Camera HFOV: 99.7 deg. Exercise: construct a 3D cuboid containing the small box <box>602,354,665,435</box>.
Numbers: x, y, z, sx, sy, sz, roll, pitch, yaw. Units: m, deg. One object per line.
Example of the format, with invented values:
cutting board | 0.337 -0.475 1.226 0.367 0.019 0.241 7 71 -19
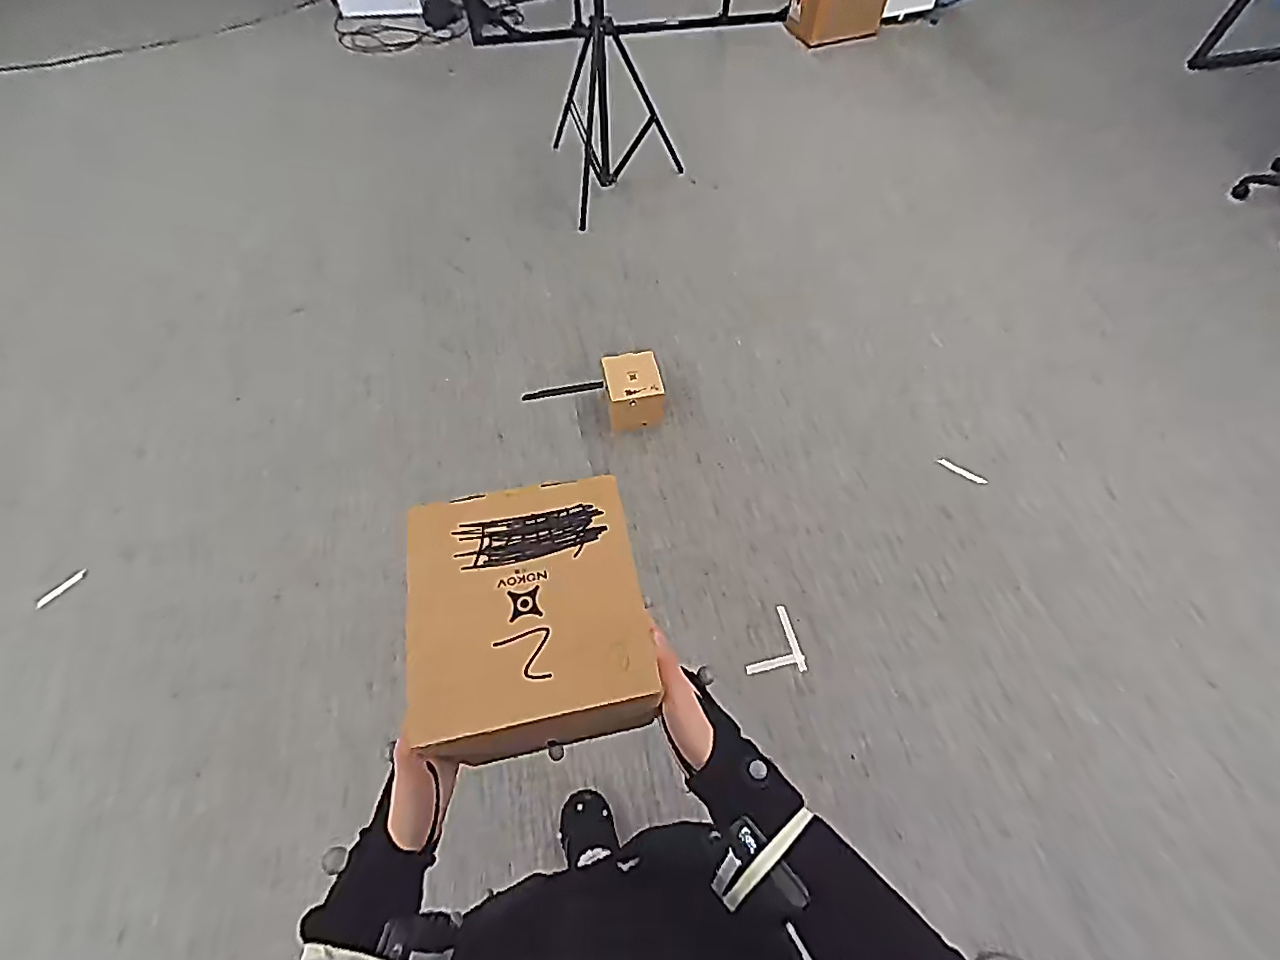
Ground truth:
small box | -0.025 -0.270 1.720 0.168 0.176 0.179 -11 60 -7
